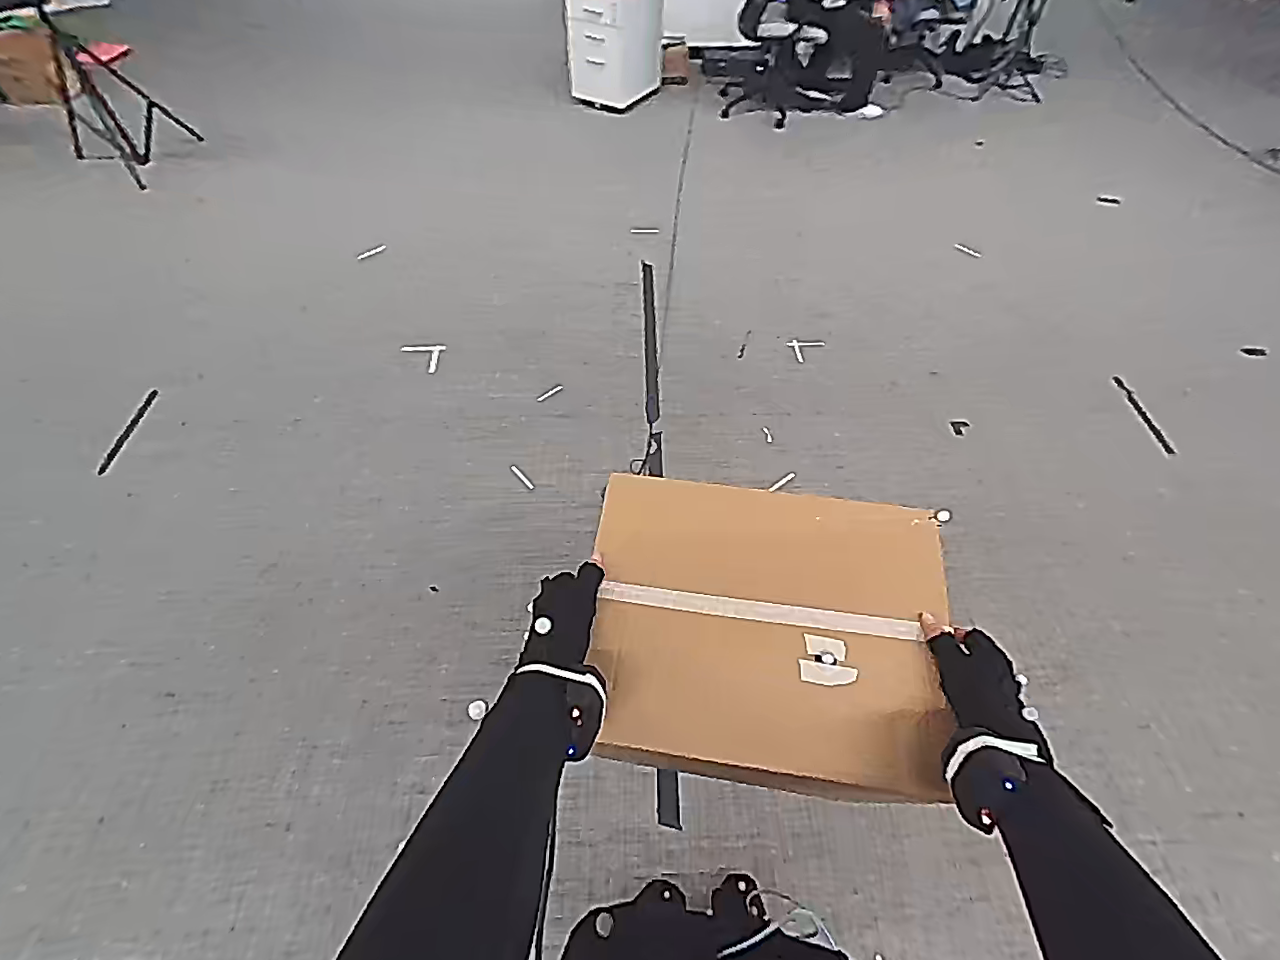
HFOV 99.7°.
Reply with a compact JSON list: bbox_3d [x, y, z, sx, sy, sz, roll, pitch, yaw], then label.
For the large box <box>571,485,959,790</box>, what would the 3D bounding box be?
[{"bbox_3d":[0.141,0.229,0.752,0.408,0.320,0.320,6,61,4],"label":"large box"}]
